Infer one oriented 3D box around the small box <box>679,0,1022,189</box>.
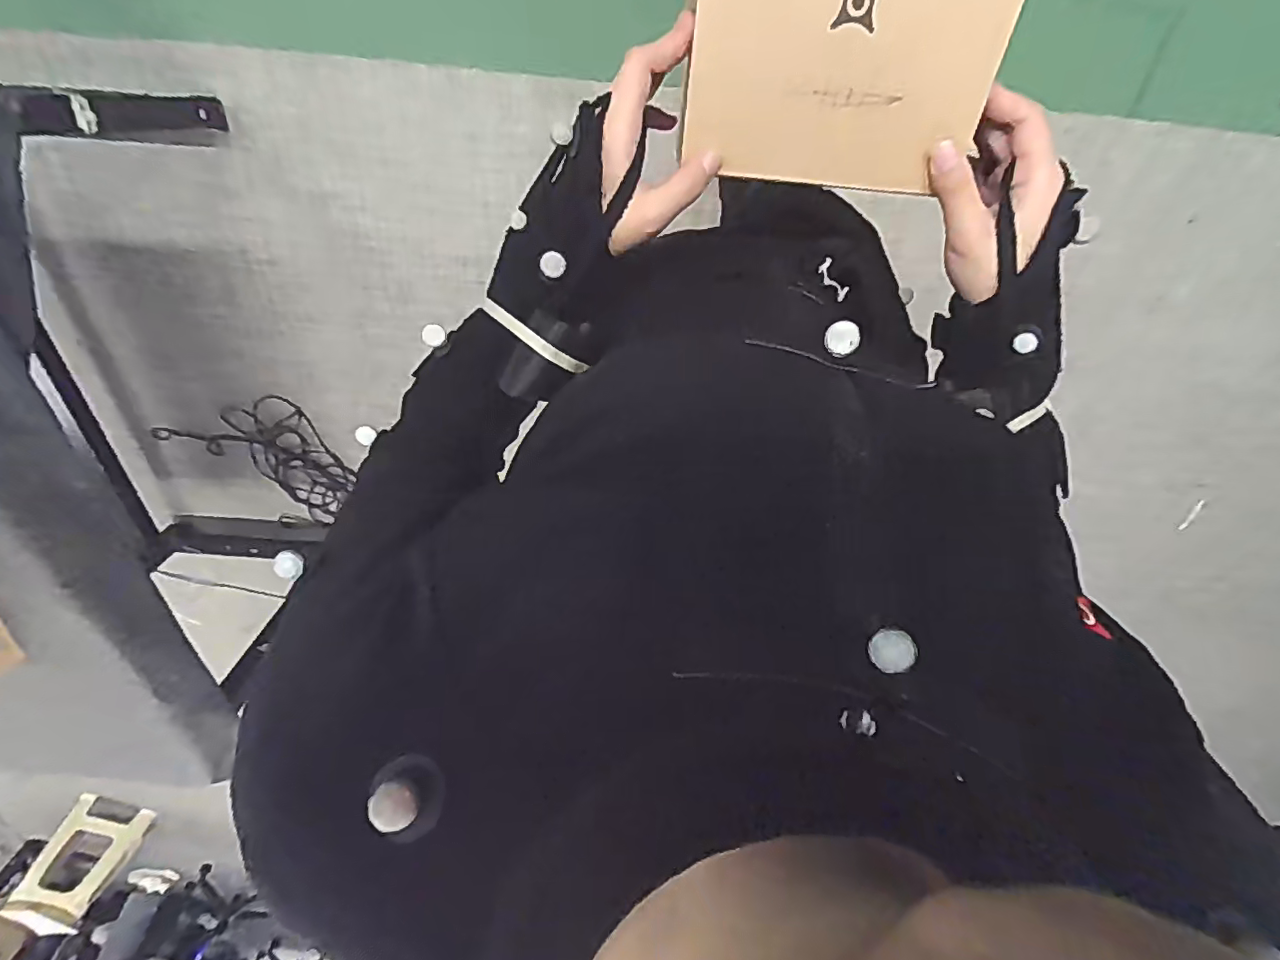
[{"bbox_3d":[0.115,-0.298,0.339,0.168,0.176,0.179,5,125,0],"label":"small box"}]
